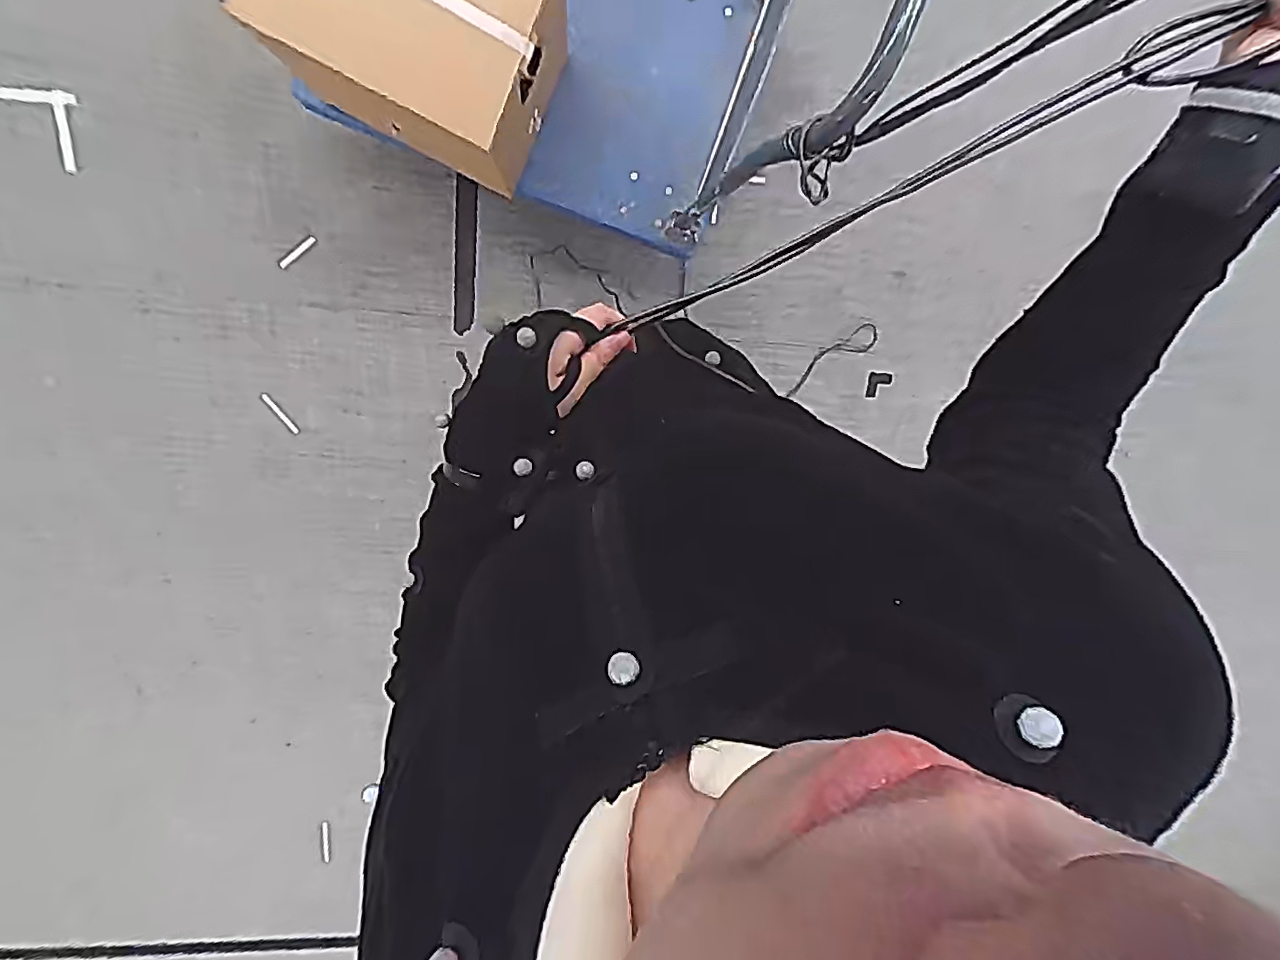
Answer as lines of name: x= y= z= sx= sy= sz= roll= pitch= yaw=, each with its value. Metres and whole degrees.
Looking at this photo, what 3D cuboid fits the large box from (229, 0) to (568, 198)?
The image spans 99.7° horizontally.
large box: x=-0.366 y=-0.755 z=0.928 sx=0.408 sy=0.320 sz=0.320 roll=23 pitch=100 yaw=-11
